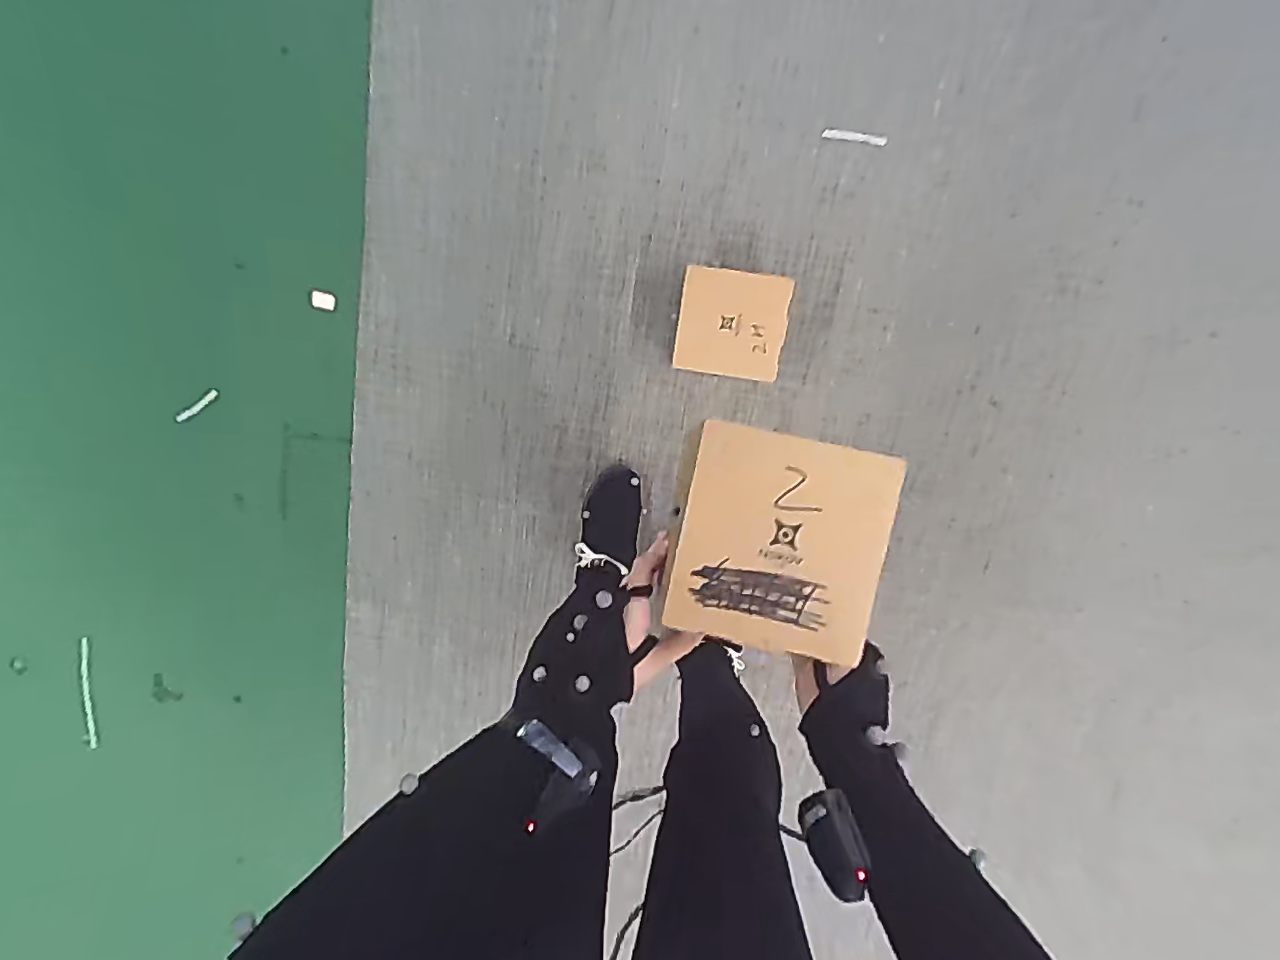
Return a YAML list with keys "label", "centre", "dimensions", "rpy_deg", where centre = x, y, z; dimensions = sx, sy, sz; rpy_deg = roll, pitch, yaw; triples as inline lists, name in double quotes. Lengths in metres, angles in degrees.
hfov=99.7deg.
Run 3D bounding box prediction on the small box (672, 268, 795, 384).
- label: "small box"
  centre: [0.157, -0.267, 0.963]
  dimensions: [0.179, 0.176, 0.168]
  rpy_deg: [9, 103, 2]
